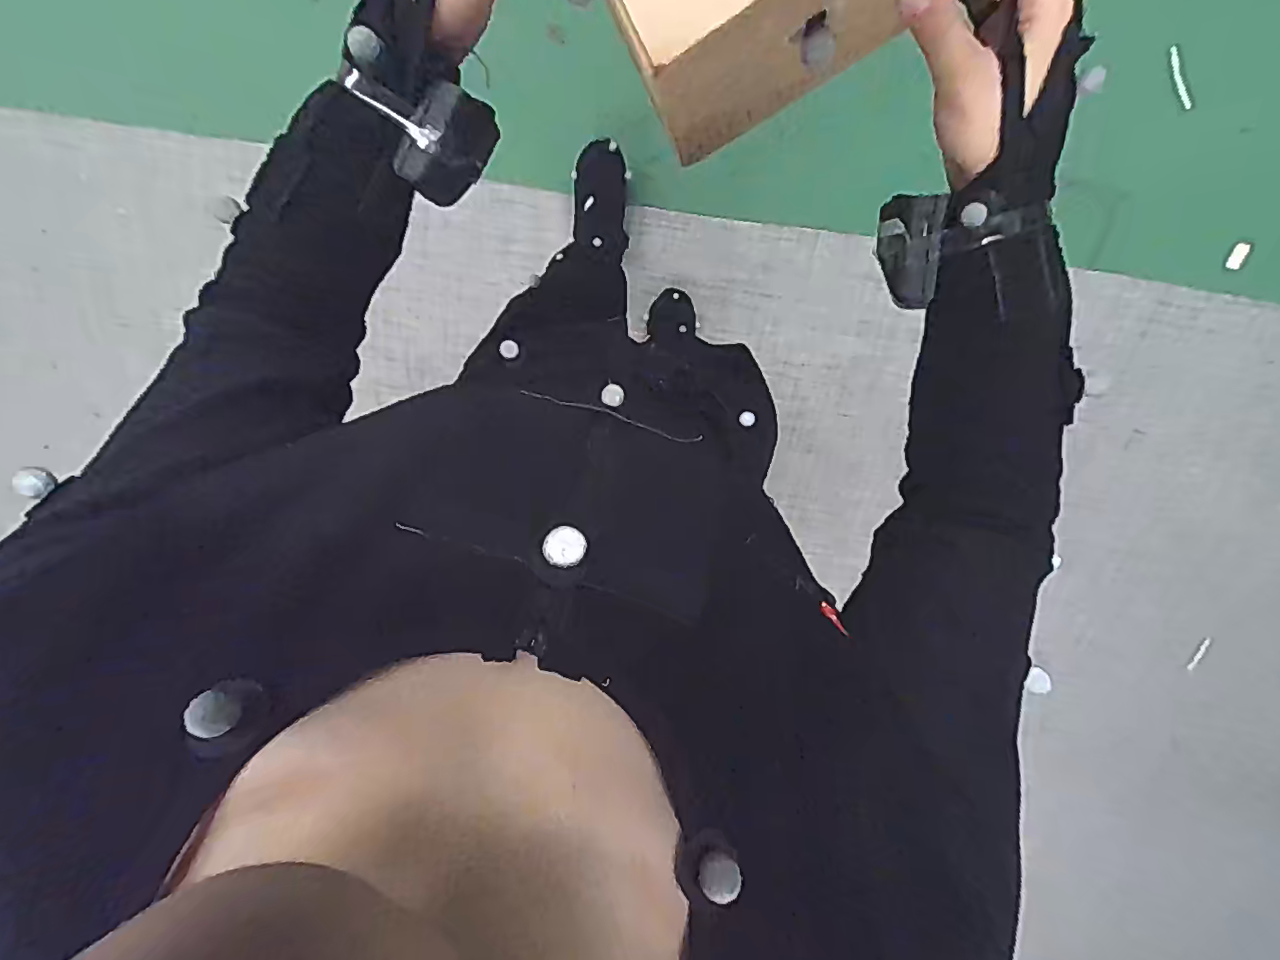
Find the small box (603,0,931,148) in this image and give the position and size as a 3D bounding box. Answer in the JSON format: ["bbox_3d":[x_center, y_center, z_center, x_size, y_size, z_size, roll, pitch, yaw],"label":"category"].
[{"bbox_3d":[0.053,-0.281,0.232,0.179,0.176,0.168,-25,104,18],"label":"small box"}]
